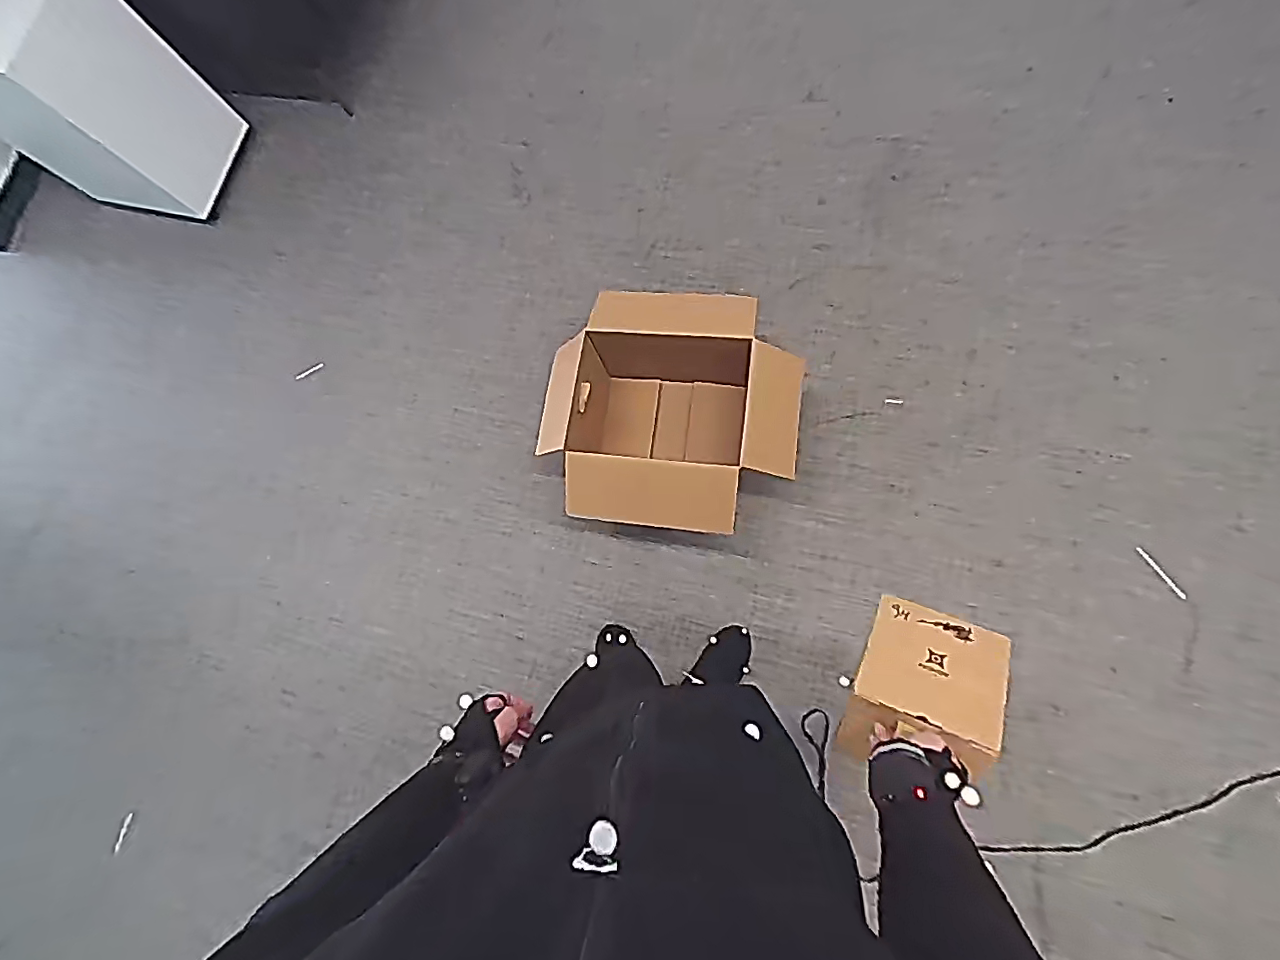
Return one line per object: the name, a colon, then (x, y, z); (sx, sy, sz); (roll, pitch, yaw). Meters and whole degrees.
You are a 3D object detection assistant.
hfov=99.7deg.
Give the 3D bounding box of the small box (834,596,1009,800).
small box: (0.384, 0.304, 0.757); (0.168, 0.176, 0.179); (21, 47, 26)
